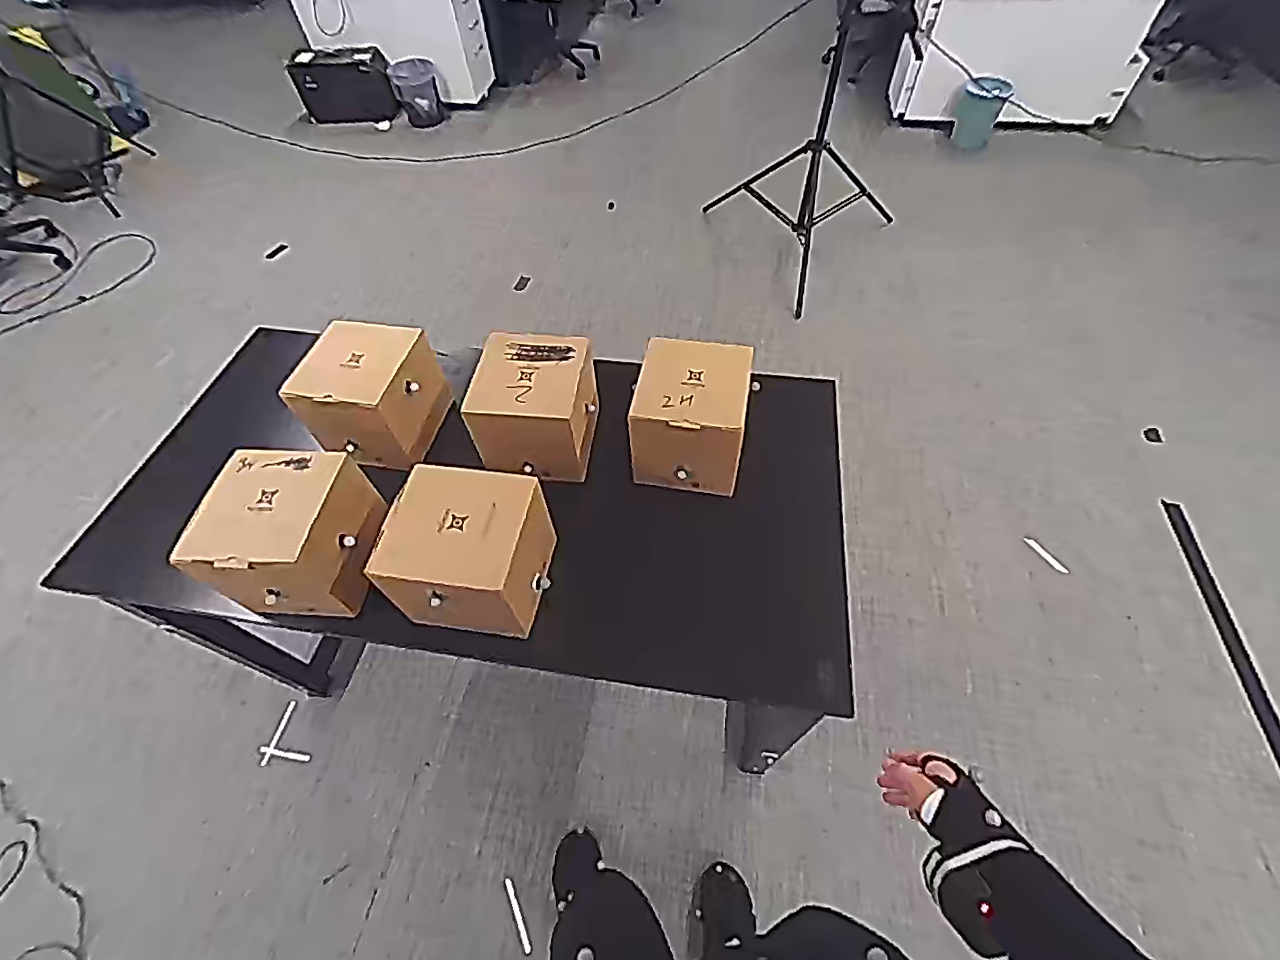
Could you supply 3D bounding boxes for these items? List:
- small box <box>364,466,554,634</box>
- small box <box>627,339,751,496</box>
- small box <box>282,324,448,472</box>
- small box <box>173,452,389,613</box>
[{"bbox_3d":[-0.232,0.101,0.748,0.179,0.176,0.168,6,56,6],"label":"small box"},{"bbox_3d":[0.079,-0.099,0.874,0.168,0.176,0.179,8,55,9],"label":"small box"},{"bbox_3d":[-0.453,-0.139,0.929,0.168,0.176,0.179,8,56,8],"label":"small box"},{"bbox_3d":[-0.488,0.080,0.773,0.168,0.176,0.179,1,55,4],"label":"small box"}]
